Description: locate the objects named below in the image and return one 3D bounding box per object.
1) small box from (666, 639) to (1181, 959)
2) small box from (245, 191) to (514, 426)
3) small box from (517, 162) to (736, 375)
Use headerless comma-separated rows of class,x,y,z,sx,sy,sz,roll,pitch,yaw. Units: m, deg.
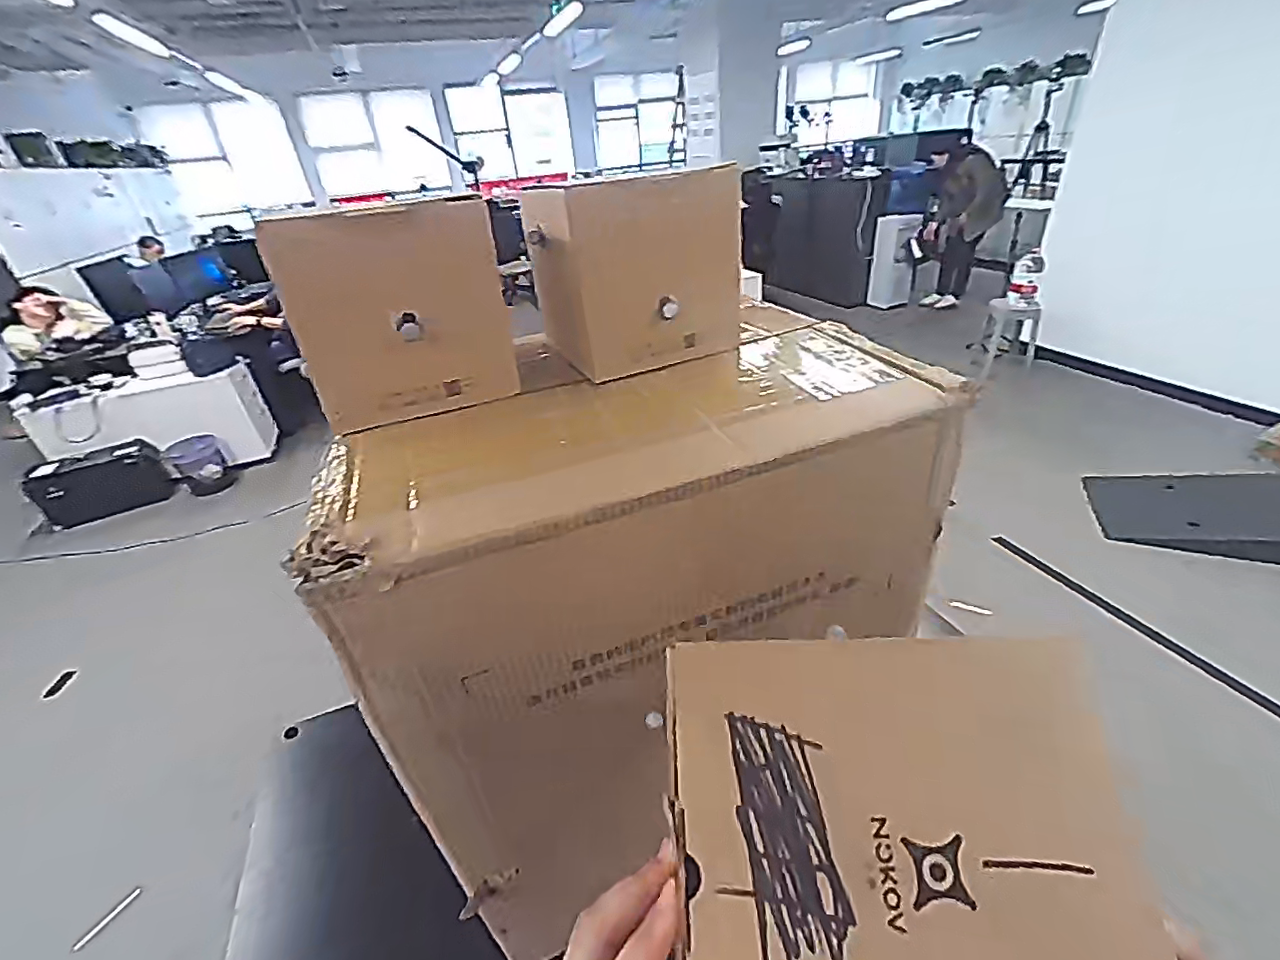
small box,0.104,0.177,0.274,0.179,0.176,0.168,-2,67,1
small box,-0.228,-0.163,0.504,0.168,0.176,0.179,-18,33,-20
small box,-0.015,-0.220,0.560,0.168,0.176,0.179,-18,32,-17
